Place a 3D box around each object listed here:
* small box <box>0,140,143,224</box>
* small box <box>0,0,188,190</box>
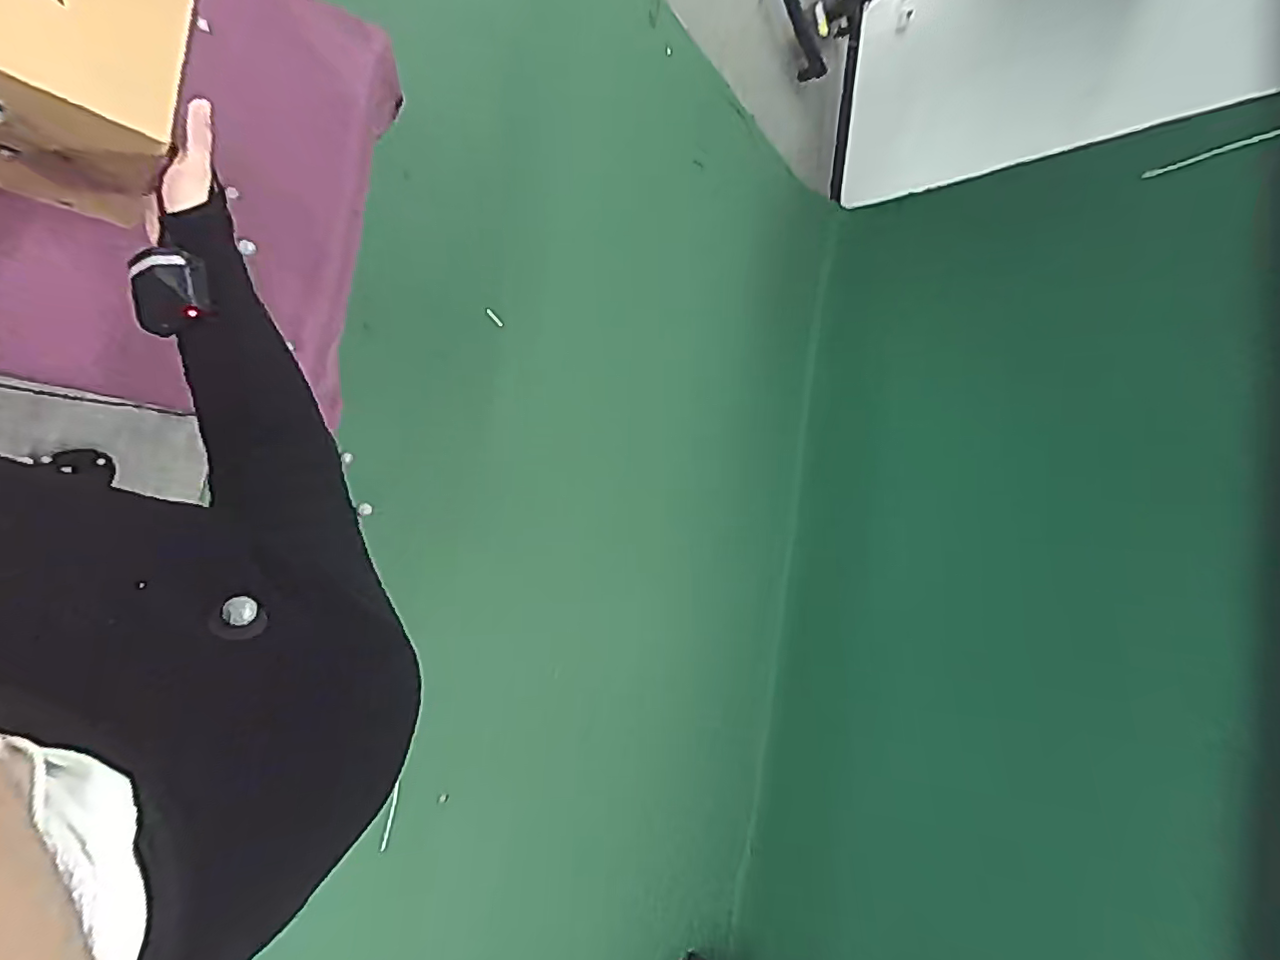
[{"bbox_3d":[-0.628,-0.403,0.565,0.168,0.176,0.179,8,87,-48],"label":"small box"},{"bbox_3d":[-0.508,-0.383,0.458,0.168,0.176,0.179,9,87,-48],"label":"small box"}]
